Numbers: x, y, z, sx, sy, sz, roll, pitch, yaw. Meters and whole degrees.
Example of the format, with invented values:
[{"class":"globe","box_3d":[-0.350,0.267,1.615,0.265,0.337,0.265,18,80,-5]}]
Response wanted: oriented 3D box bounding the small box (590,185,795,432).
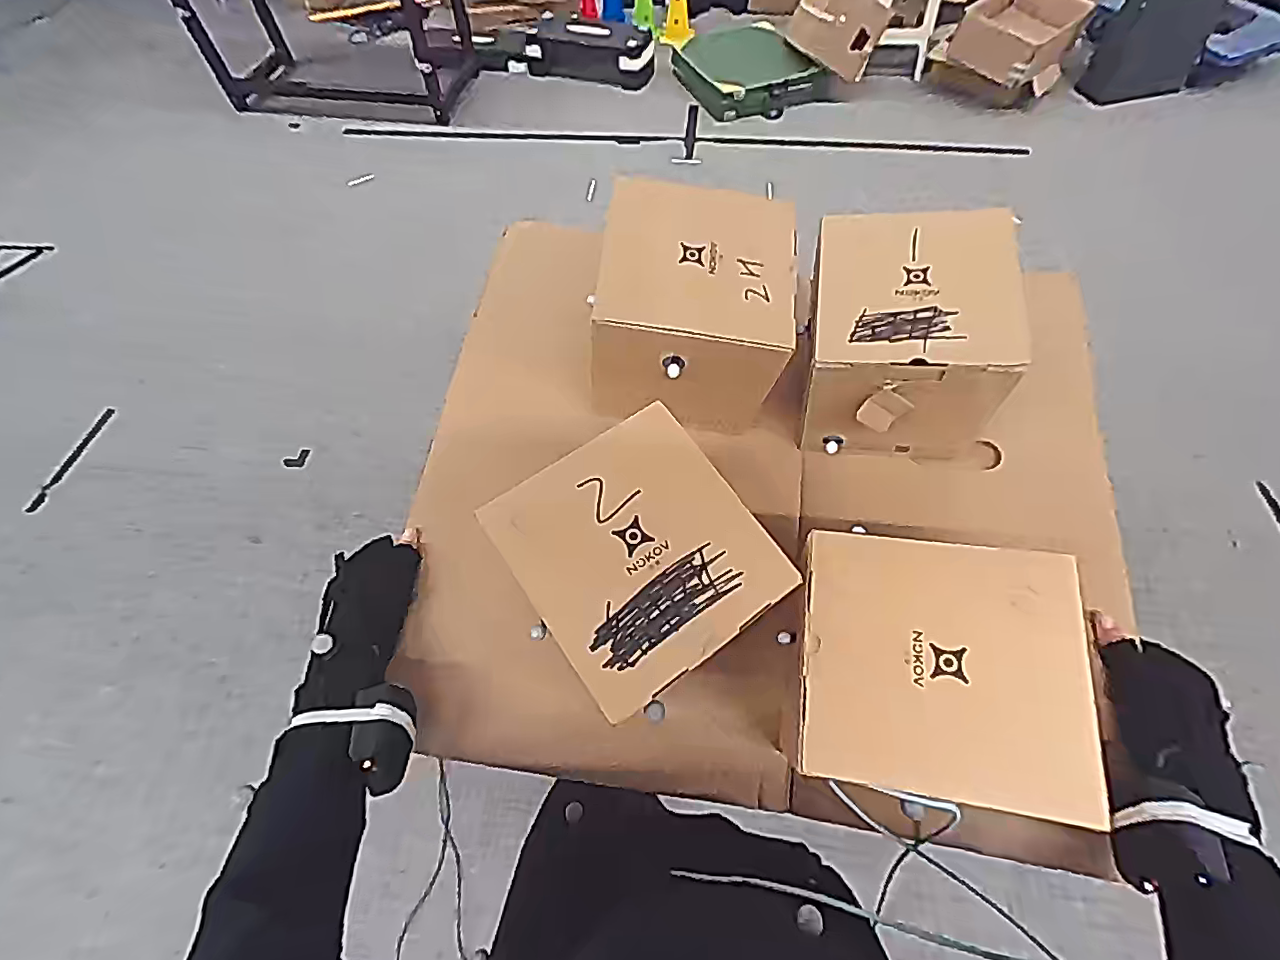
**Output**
[{"class":"small box","box_3d":[0.047,-0.164,0.560,0.179,0.176,0.168,8,69,-2]}]
